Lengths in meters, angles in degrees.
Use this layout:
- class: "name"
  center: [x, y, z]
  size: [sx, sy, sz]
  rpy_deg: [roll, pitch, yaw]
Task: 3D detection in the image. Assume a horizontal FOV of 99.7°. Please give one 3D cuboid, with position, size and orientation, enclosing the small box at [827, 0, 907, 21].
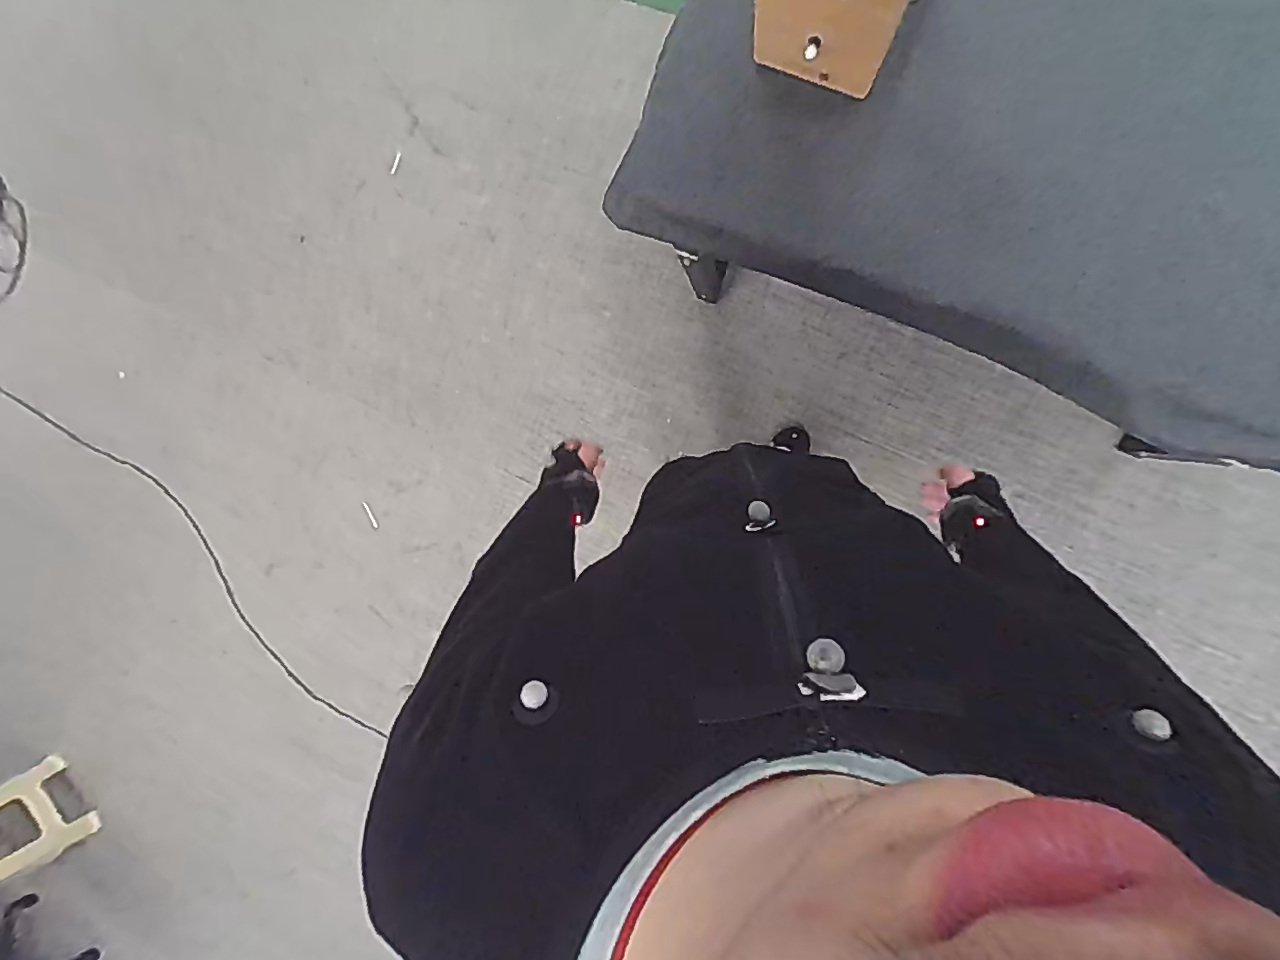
- class: "small box"
  center: [0.216, -0.586, 0.498]
  size: [0.168, 0.176, 0.179]
  rpy_deg: [23, 99, 7]

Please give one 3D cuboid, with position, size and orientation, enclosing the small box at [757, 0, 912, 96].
- class: "small box"
  center: [0.252, -0.616, 0.655]
  size: [0.168, 0.176, 0.179]
  rpy_deg: [25, 101, 7]
